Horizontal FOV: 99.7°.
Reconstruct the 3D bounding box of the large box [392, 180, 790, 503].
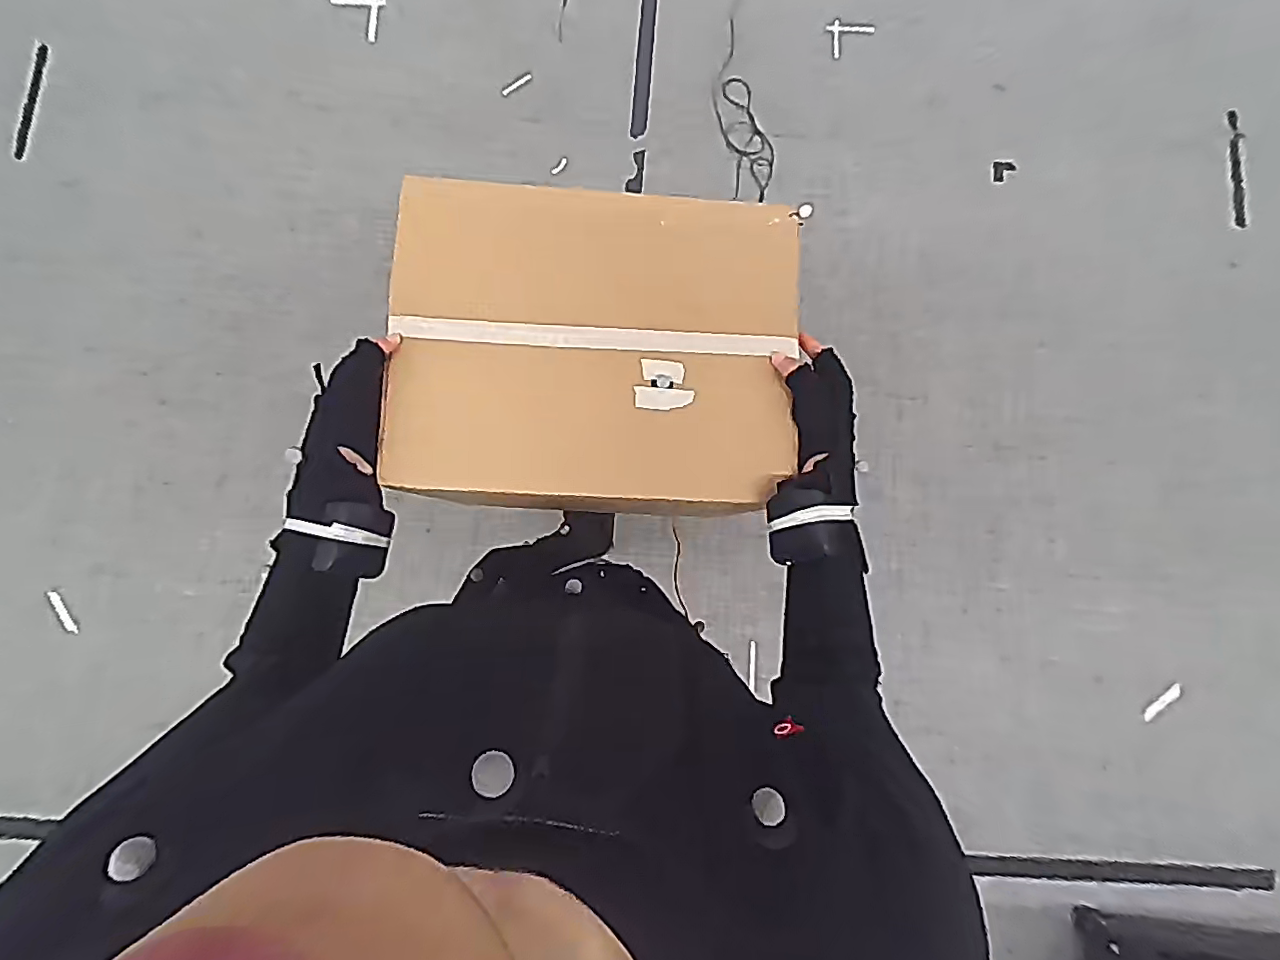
[{"bbox_3d":[-0.053,-0.137,0.700,0.408,0.320,0.320,3,85,-4],"label":"large box"}]
